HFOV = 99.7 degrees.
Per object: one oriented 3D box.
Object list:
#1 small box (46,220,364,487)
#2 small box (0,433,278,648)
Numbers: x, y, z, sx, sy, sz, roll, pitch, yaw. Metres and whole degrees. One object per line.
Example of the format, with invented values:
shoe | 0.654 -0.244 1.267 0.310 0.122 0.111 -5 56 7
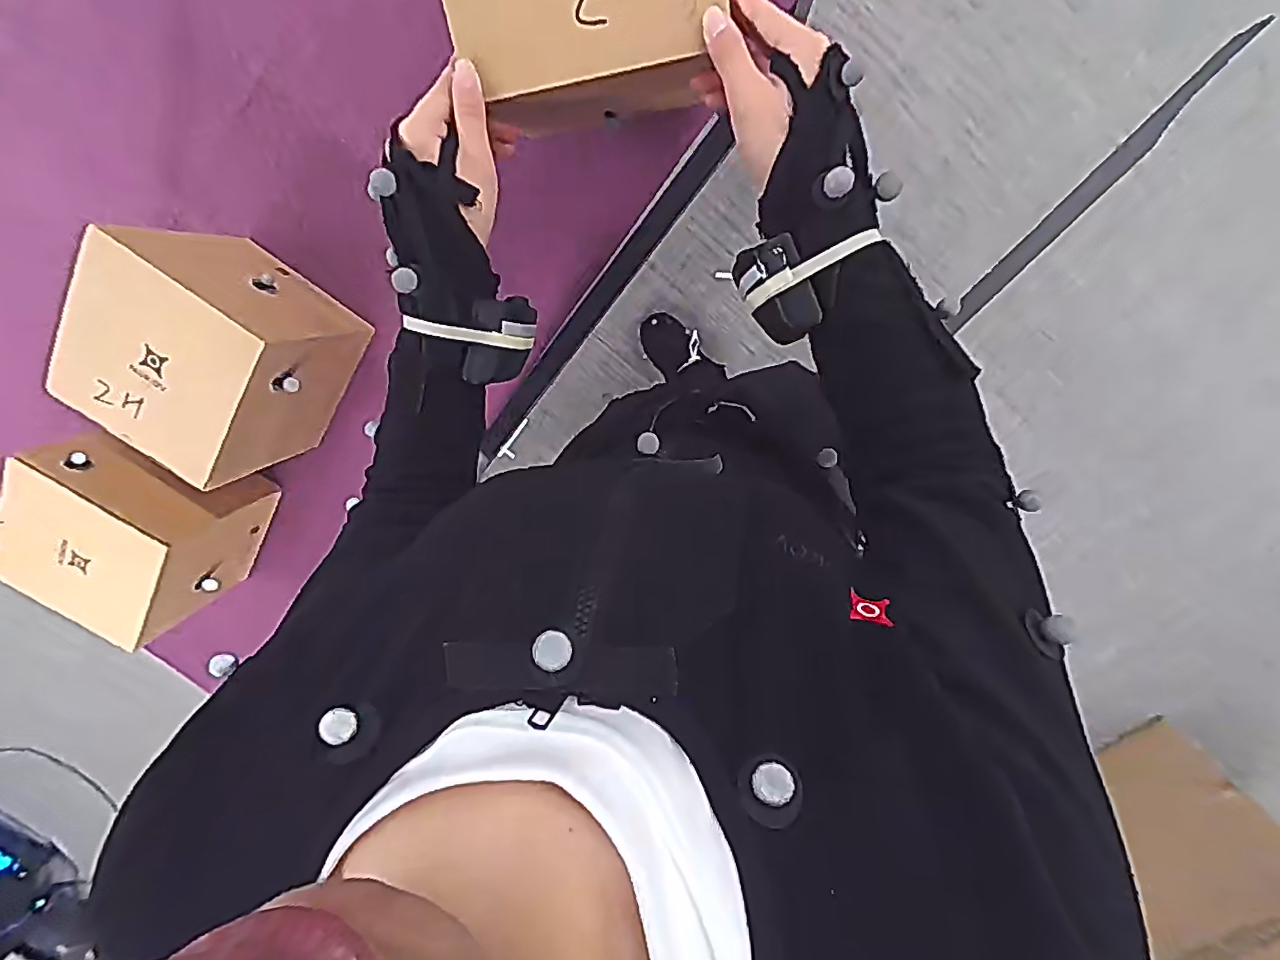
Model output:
small box | -0.421 -0.129 0.552 0.168 0.176 0.179 35 109 -5
small box | -0.579 0.053 0.639 0.179 0.176 0.168 33 110 -5
